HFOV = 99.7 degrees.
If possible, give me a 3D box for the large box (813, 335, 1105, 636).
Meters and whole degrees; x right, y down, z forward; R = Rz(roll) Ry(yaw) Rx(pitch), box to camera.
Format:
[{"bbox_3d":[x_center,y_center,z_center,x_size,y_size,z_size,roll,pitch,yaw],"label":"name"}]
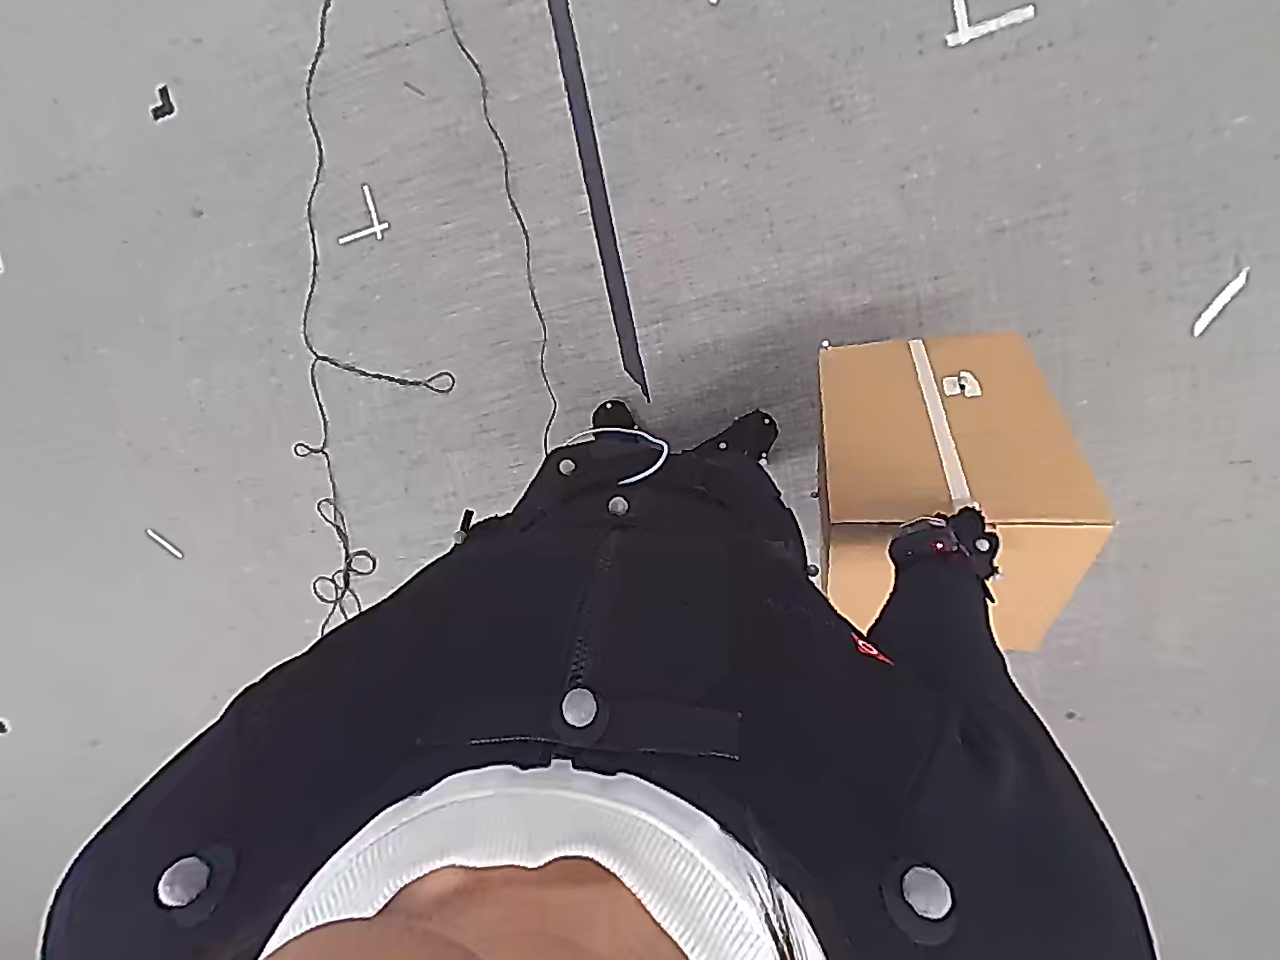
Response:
[{"bbox_3d":[0.466,0.010,0.909,0.320,0.408,0.320,-1,135,15],"label":"large box"}]
